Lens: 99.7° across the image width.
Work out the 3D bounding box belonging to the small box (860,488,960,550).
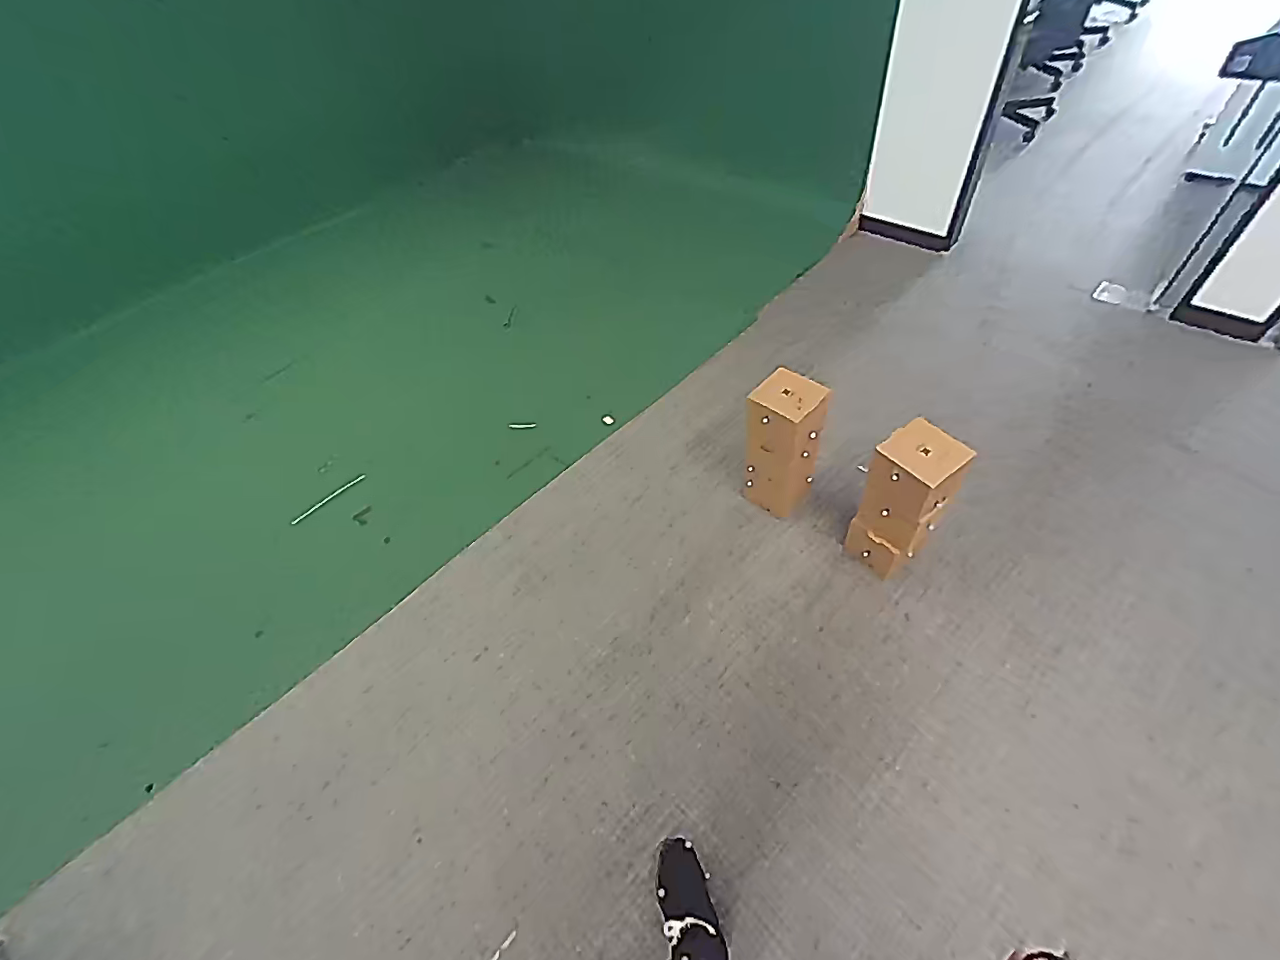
[{"bbox_3d":[0.764,0.077,1.548,0.168,0.176,0.179,-35,54,-18],"label":"small box"}]

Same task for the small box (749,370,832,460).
[{"bbox_3d":[0.438,-0.189,1.602,0.179,0.176,0.168,35,65,30],"label":"small box"}]

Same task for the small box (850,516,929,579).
[{"bbox_3d":[0.774,0.177,1.677,0.179,0.176,0.168,-35,55,-15],"label":"small box"}]

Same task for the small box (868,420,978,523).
[{"bbox_3d":[0.731,-0.019,1.421,0.168,0.176,0.179,-32,54,-14],"label":"small box"}]

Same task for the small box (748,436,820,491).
[{"bbox_3d":[0.464,-0.098,1.737,0.168,0.176,0.179,34,63,30],"label":"small box"}]
